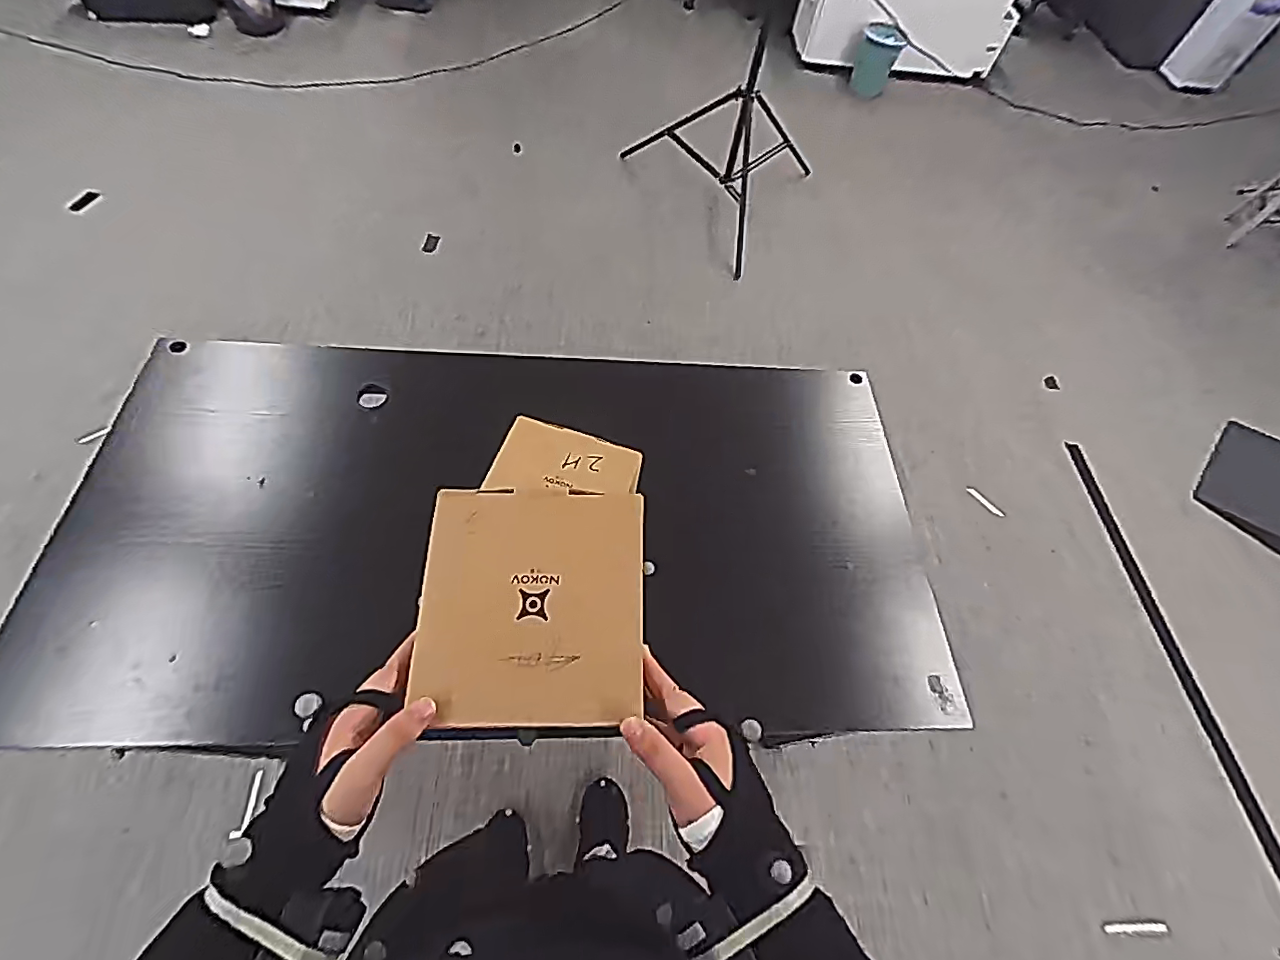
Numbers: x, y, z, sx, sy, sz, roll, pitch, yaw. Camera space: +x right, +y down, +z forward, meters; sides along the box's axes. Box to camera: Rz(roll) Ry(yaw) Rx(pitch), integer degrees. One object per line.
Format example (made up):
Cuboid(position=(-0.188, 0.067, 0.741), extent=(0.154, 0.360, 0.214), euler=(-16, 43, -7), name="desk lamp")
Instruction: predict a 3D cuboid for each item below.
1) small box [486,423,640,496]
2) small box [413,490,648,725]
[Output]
Cuboid(position=(-0.106, 0.060, 0.712), extent=(0.168, 0.176, 0.179), euler=(17, 59, 3), name="small box")
Cuboid(position=(-0.081, 0.122, 0.484), extent=(0.168, 0.176, 0.179), euler=(1, 67, -3), name="small box")
